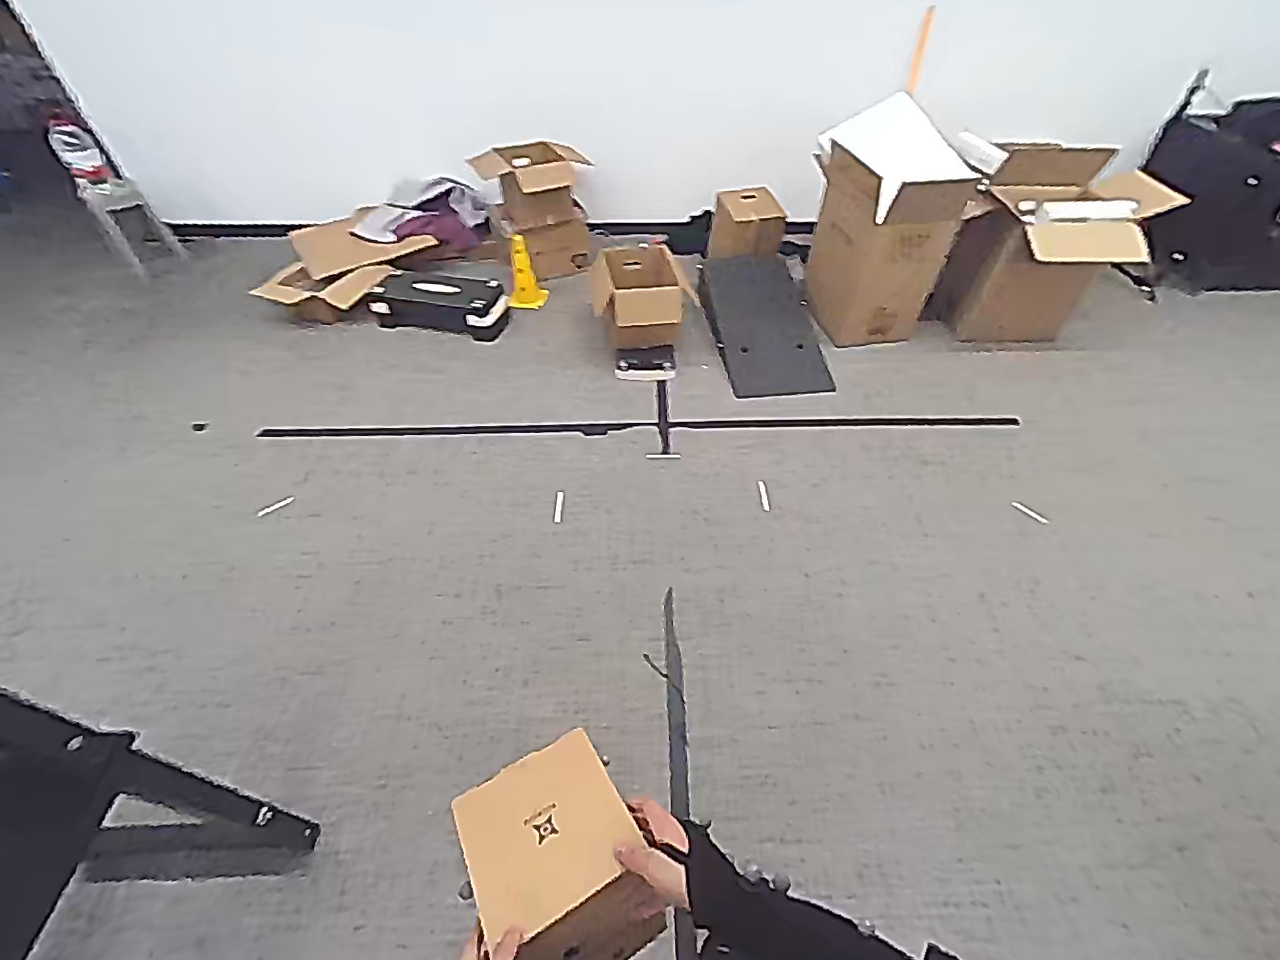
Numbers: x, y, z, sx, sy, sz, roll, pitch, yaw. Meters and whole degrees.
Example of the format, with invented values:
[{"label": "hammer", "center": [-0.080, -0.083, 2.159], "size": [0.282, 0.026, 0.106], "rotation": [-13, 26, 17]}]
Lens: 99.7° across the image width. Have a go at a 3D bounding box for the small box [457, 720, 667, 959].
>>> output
[{"label": "small box", "center": [-0.084, 0.423, 0.609], "size": [0.168, 0.176, 0.179], "rotation": [-22, 31, -21]}]
